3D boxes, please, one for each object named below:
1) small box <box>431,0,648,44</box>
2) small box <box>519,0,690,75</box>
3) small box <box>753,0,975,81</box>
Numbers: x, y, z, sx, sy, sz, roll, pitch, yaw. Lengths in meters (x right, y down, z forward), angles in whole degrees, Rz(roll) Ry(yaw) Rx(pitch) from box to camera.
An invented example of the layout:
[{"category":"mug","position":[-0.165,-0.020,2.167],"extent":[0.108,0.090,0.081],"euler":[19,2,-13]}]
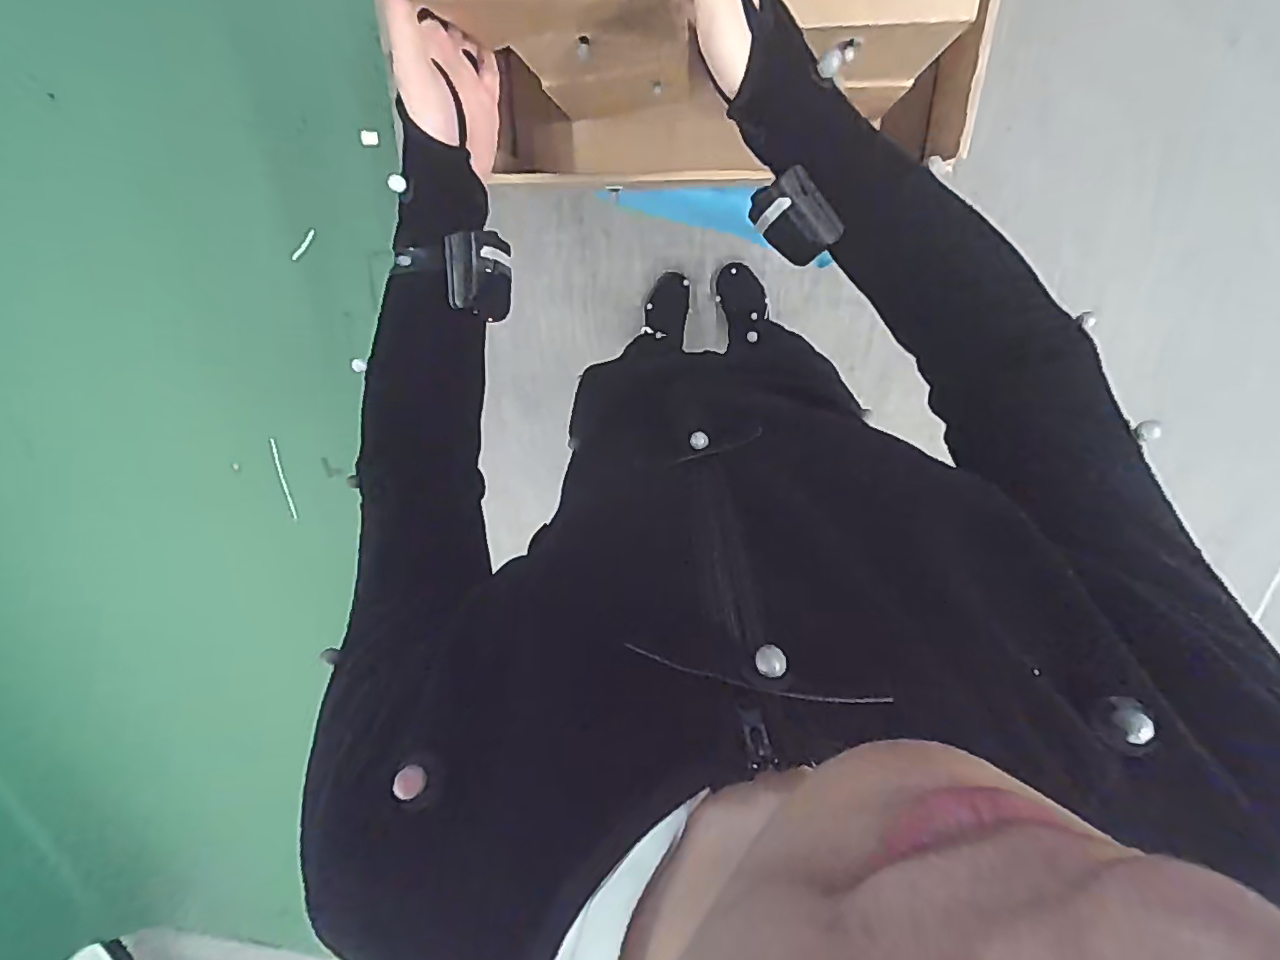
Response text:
[{"category":"small box","position":[-0.079,-0.417,0.348],"extent":[0.179,0.176,0.168],"euler":[-8,117,10]},{"category":"small box","position":[-0.046,-0.518,0.520],"extent":[0.179,0.176,0.168],"euler":[-2,113,8]},{"category":"small box","position":[0.200,-0.487,0.494],"extent":[0.179,0.176,0.168],"euler":[5,113,8]}]
